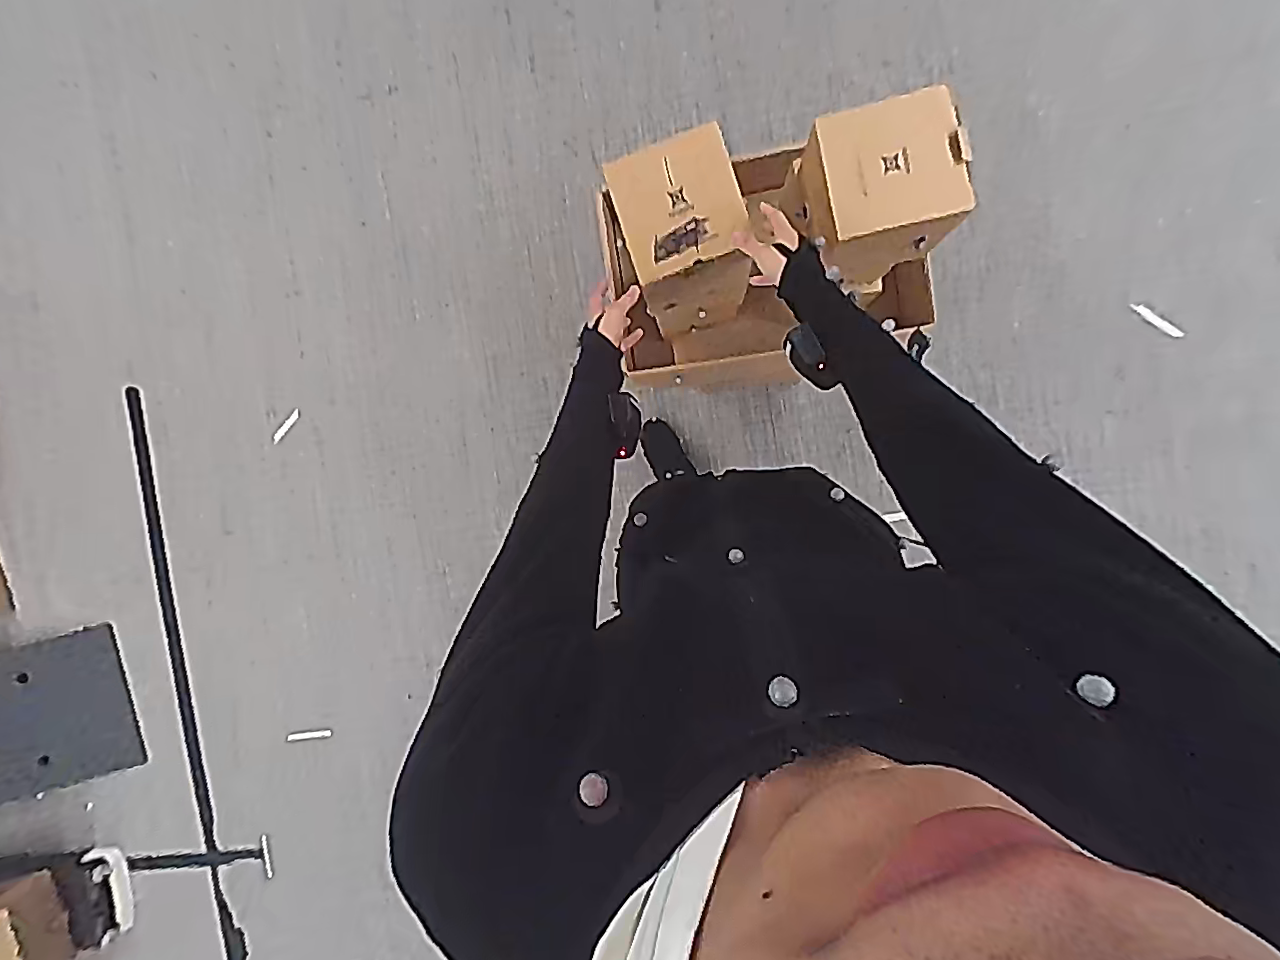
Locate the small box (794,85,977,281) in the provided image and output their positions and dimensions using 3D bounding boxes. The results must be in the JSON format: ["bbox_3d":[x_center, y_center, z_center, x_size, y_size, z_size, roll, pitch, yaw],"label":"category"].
[{"bbox_3d":[0.335,-0.407,0.771,0.179,0.176,0.168,-11,90,6],"label":"small box"}]

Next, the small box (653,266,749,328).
[{"bbox_3d":[0.086,-0.394,0.963,0.168,0.176,0.179,-16,91,7],"label":"small box"}]

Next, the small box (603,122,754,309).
[{"bbox_3d":[0.060,-0.371,0.801,0.168,0.176,0.179,-18,90,6],"label":"small box"}]

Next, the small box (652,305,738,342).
[{"bbox_3d":[0.098,-0.409,1.126,0.168,0.176,0.179,-16,90,7],"label":"small box"}]
